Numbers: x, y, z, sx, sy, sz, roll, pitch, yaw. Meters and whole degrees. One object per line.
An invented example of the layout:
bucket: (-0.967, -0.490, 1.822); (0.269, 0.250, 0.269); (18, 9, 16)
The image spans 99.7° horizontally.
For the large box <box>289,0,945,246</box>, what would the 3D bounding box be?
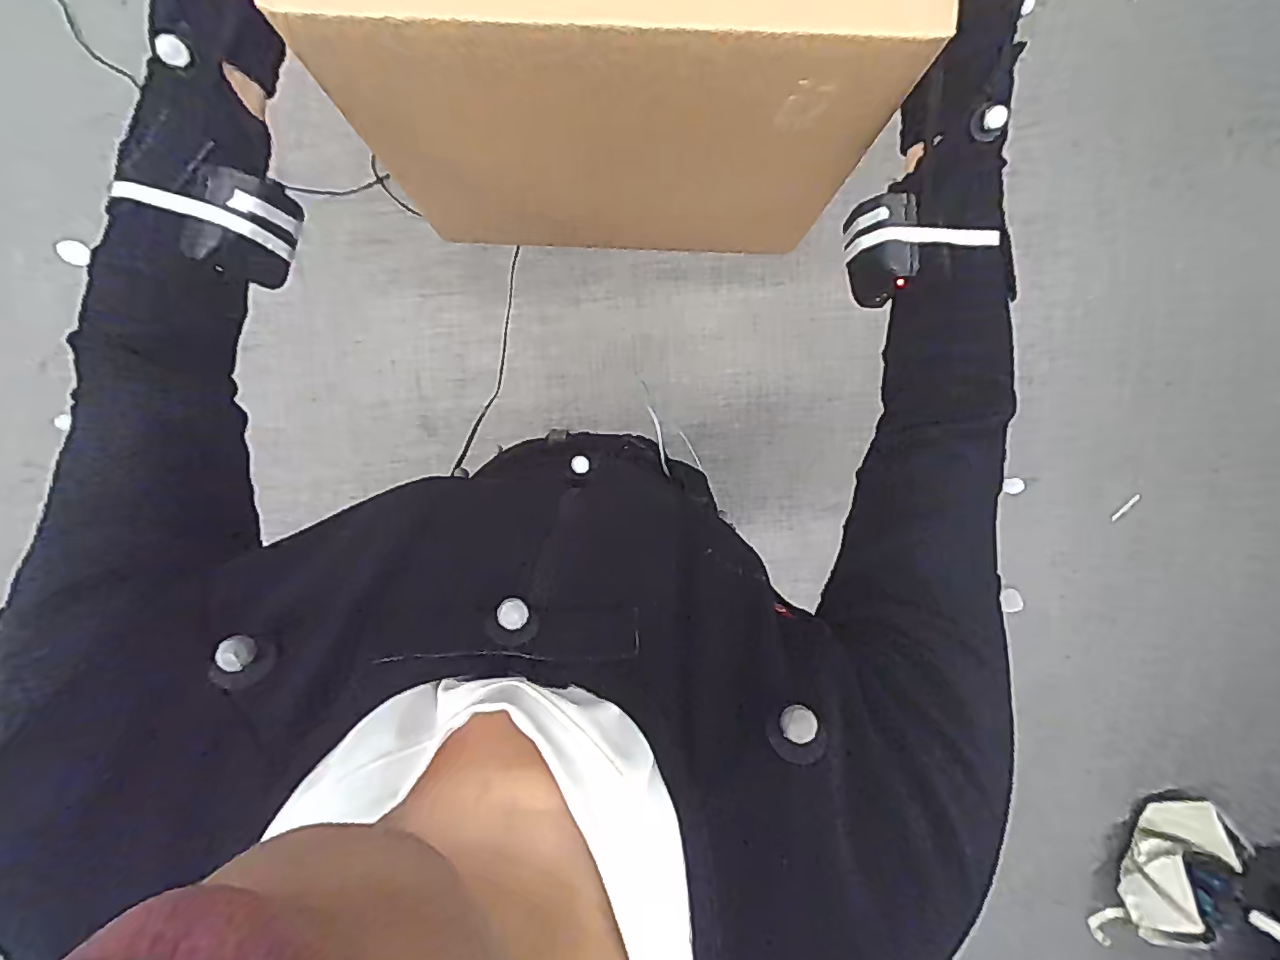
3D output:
large box: (-0.018, -0.421, 0.474); (0.408, 0.320, 0.320); (0, 91, -2)
